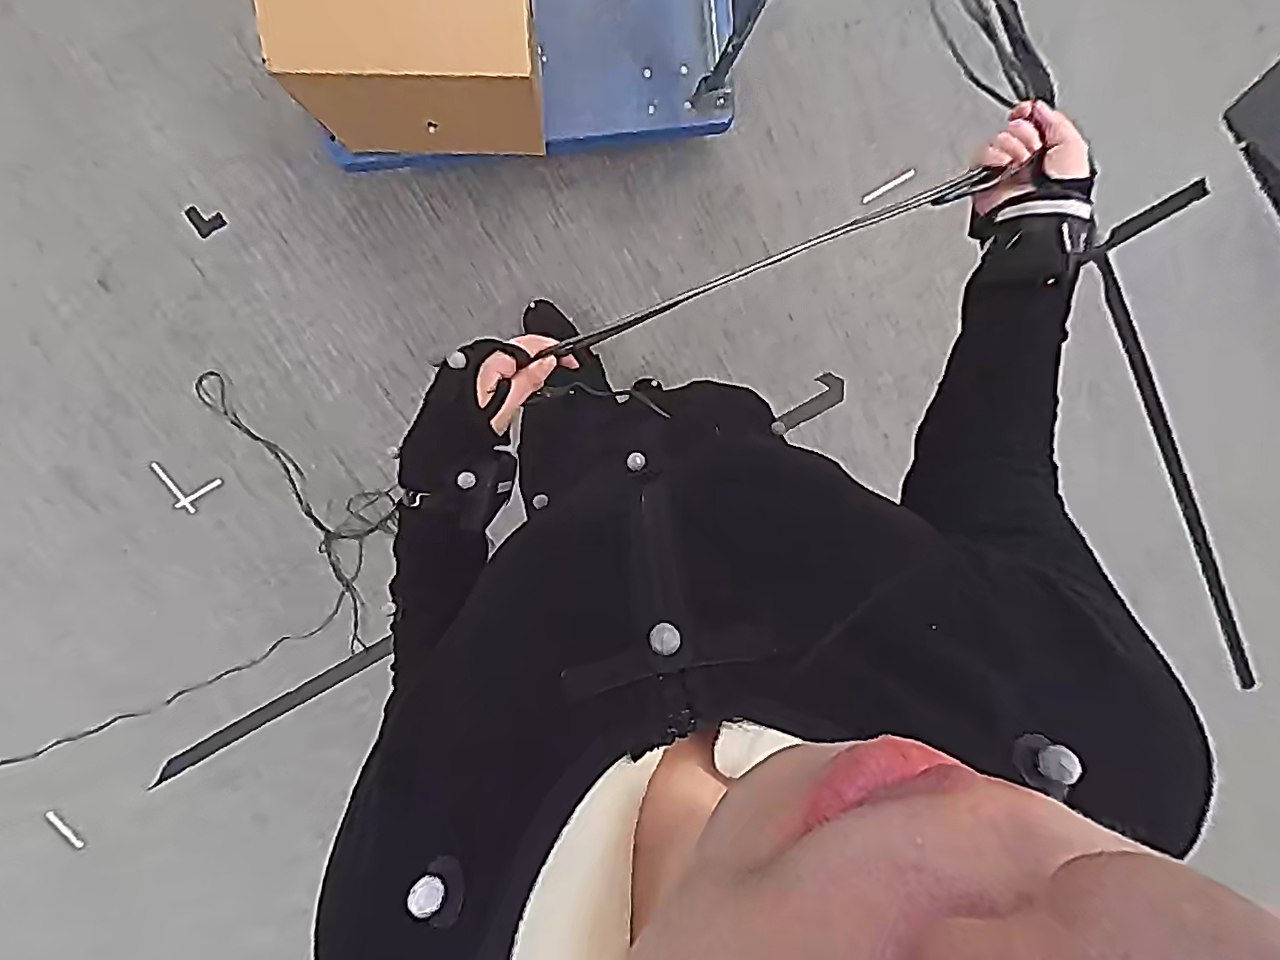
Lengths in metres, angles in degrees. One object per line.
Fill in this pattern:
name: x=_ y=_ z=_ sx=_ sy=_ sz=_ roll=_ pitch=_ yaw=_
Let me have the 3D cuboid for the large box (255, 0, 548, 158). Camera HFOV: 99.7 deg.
large box: x=-0.388 y=-0.796 z=0.957 sx=0.408 sy=0.320 sz=0.320 roll=-3 pitch=100 yaw=-4
